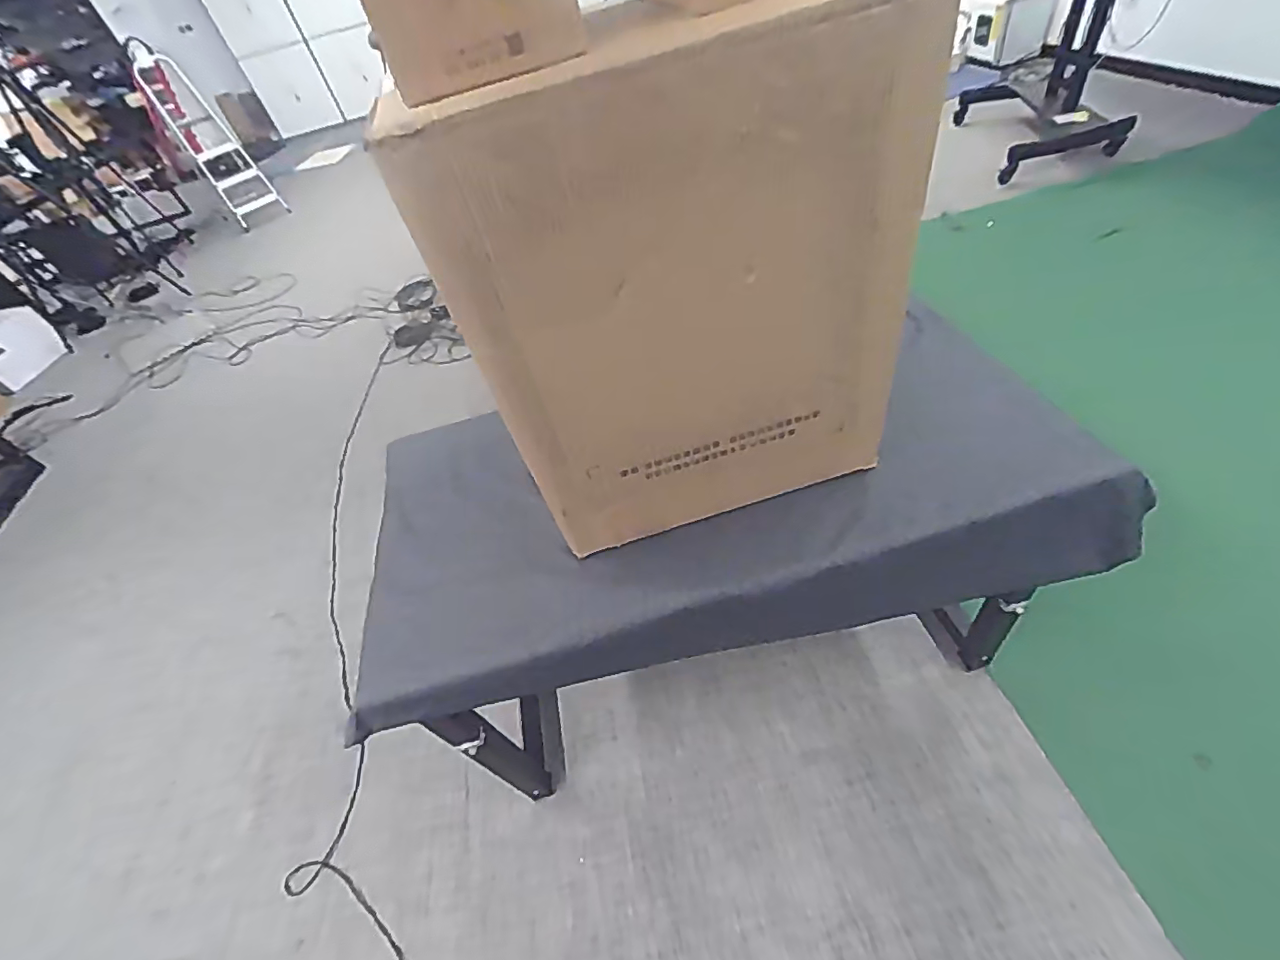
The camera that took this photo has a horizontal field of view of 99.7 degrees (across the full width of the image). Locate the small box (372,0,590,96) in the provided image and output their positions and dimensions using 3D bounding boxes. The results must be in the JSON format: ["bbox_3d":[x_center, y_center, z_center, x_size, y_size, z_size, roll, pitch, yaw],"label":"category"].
[{"bbox_3d":[-0.151,-0.456,0.457,0.168,0.176,0.179,-18,50,-2],"label":"small box"}]

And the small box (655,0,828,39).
[{"bbox_3d":[0.103,-0.530,0.480,0.179,0.176,0.168,-20,49,-3],"label":"small box"}]
